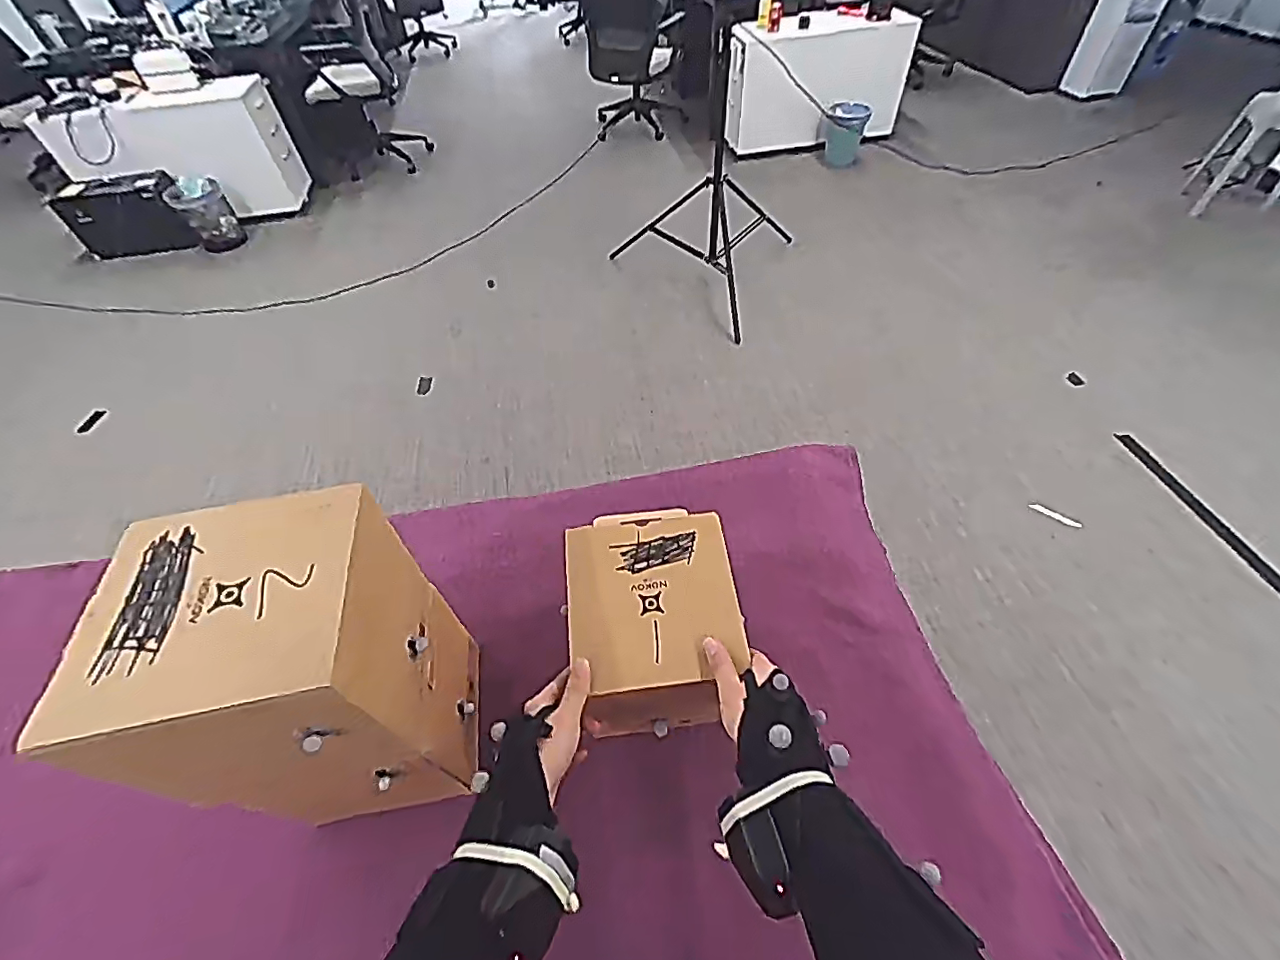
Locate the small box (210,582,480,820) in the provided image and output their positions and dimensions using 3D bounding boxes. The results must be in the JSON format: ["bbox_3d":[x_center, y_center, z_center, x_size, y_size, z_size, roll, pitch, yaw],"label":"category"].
[{"bbox_3d":[-0.276,0.231,0.557,0.179,0.176,0.168,-10,50,-5],"label":"small box"}]

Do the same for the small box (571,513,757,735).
[{"bbox_3d":[0.018,0.160,0.589,0.168,0.176,0.179,-7,54,-2],"label":"small box"}]
